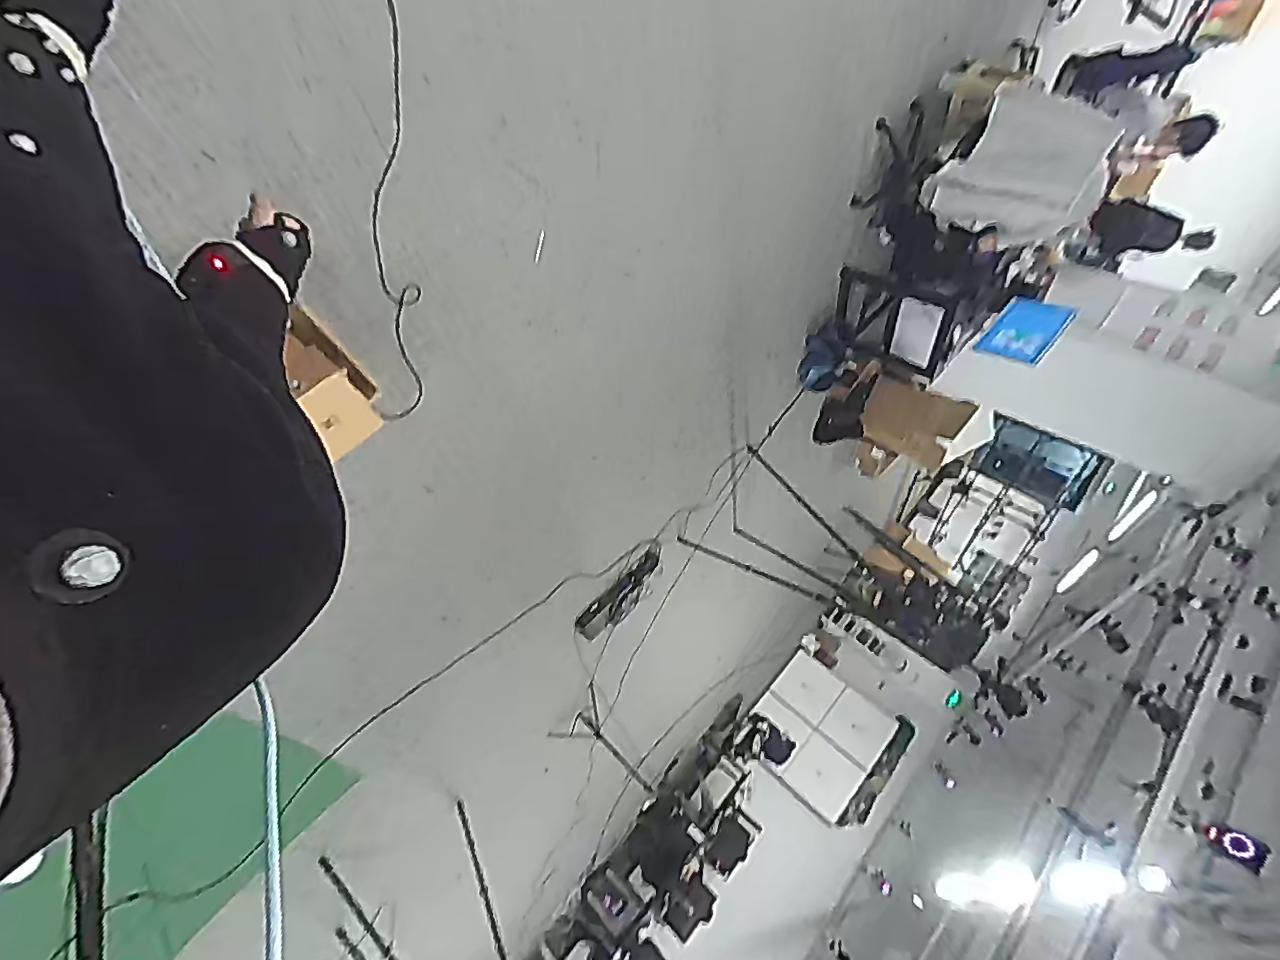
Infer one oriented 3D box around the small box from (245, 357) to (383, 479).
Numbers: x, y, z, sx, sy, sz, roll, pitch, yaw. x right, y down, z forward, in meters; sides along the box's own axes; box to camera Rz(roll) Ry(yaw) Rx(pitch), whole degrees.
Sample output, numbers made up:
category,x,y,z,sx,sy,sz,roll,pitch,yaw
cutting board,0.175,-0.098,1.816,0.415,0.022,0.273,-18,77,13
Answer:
category,x,y,z,sx,sy,sz,roll,pitch,yaw
small box,-0.718,-0.142,1.193,0.179,0.176,0.168,-44,144,-18
